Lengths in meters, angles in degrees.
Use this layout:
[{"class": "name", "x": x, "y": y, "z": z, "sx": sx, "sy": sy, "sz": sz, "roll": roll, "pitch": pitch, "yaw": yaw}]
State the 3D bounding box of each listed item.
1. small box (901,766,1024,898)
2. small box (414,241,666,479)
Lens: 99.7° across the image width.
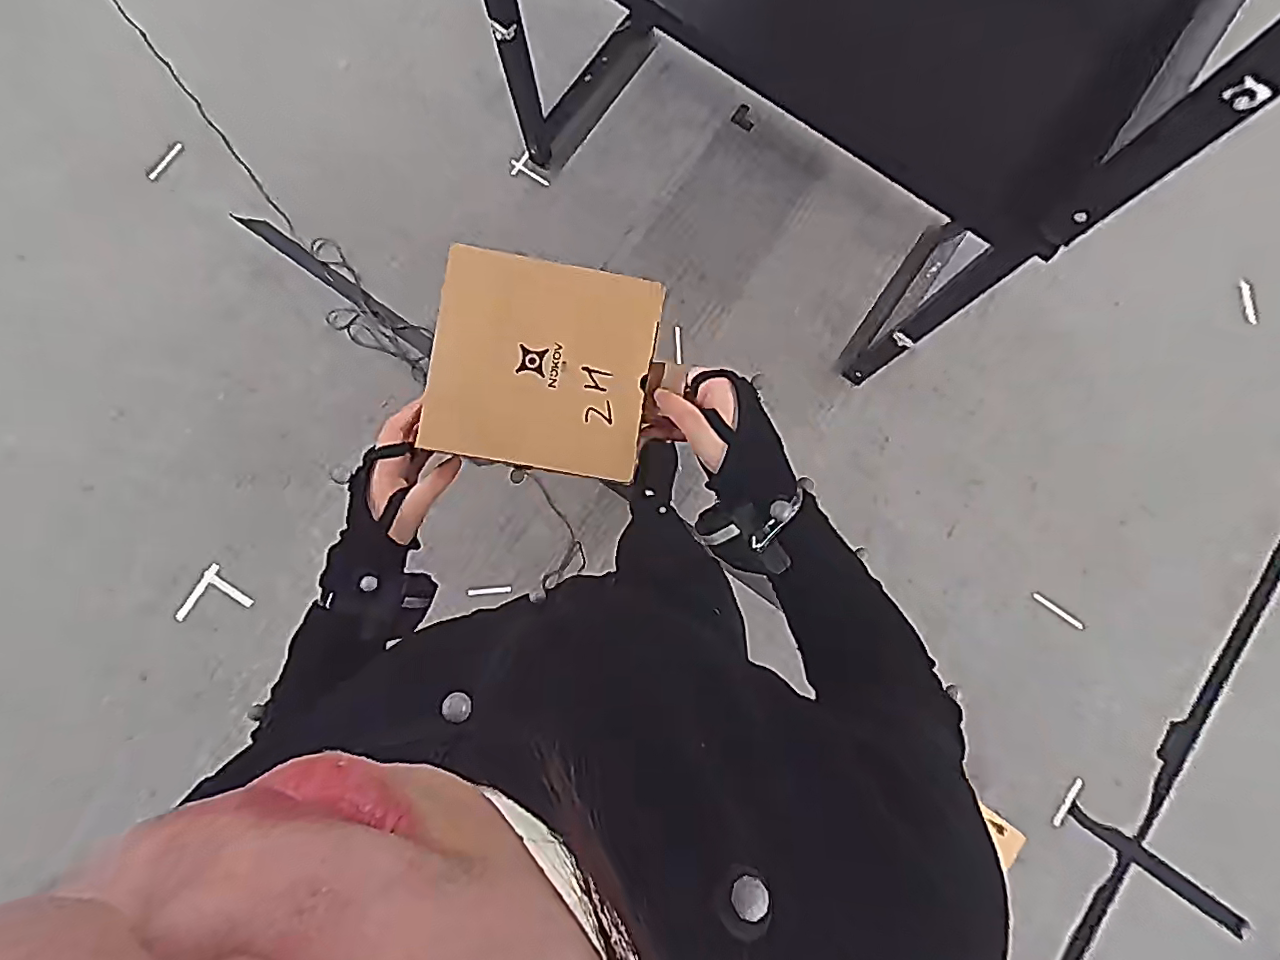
[{"class": "small box", "x": 0.783, "y": 0.859, "z": 1.338, "sx": 0.168, "sy": 0.176, "sz": 0.179, "roll": 37, "pitch": 86, "yaw": 3}, {"class": "small box", "x": -0.083, "y": -0.094, "z": 0.506, "sx": 0.179, "sy": 0.176, "sz": 0.168, "roll": 9, "pitch": 89, "yaw": -4}]
